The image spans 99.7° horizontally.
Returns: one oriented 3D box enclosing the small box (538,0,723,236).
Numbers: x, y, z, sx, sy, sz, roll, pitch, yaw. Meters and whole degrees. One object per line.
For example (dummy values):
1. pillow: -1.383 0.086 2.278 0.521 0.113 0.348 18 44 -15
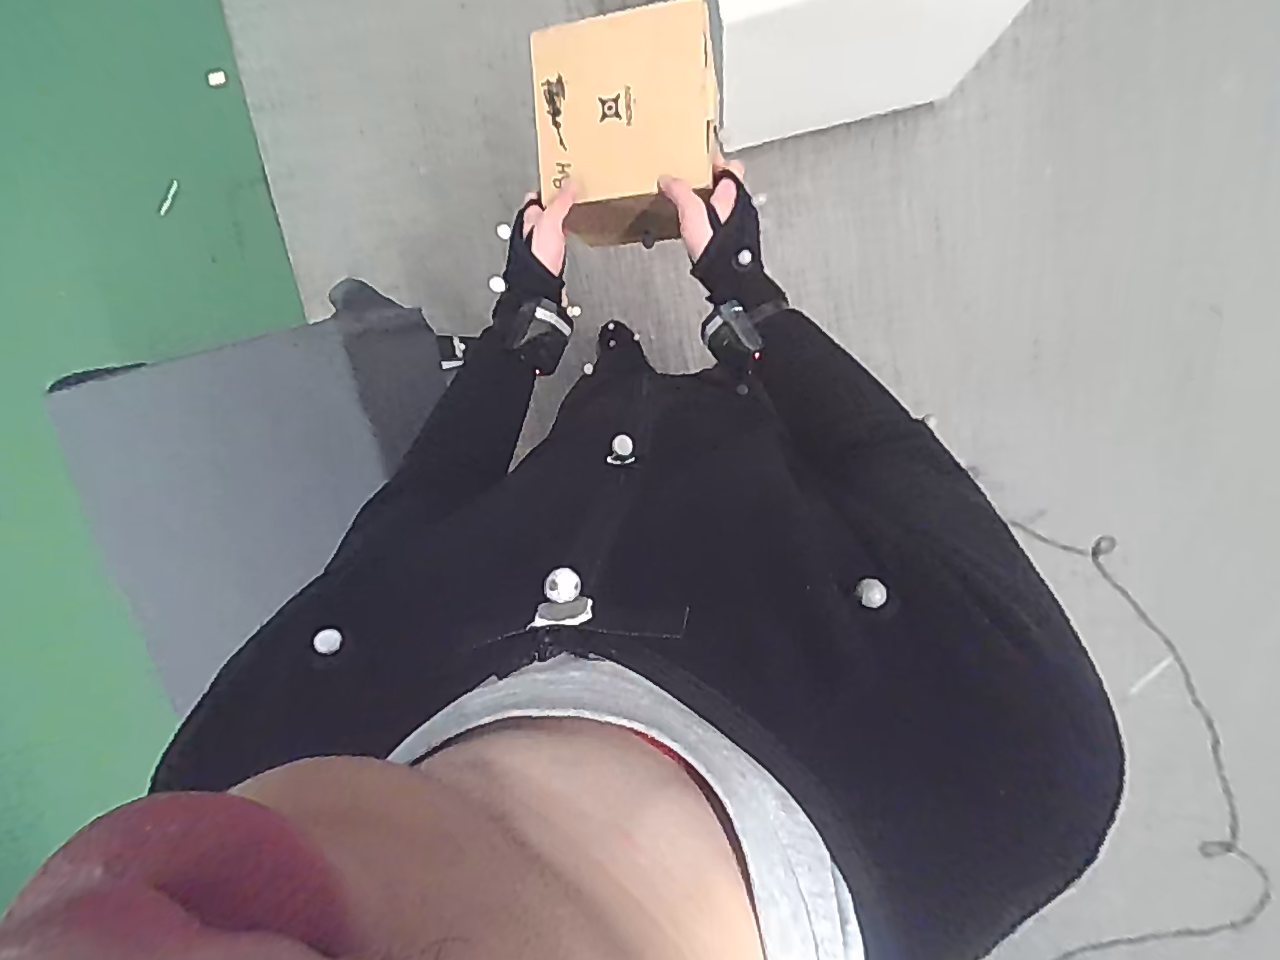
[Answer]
1. small box: 0.002 -0.378 0.592 0.179 0.176 0.168 0 100 10
